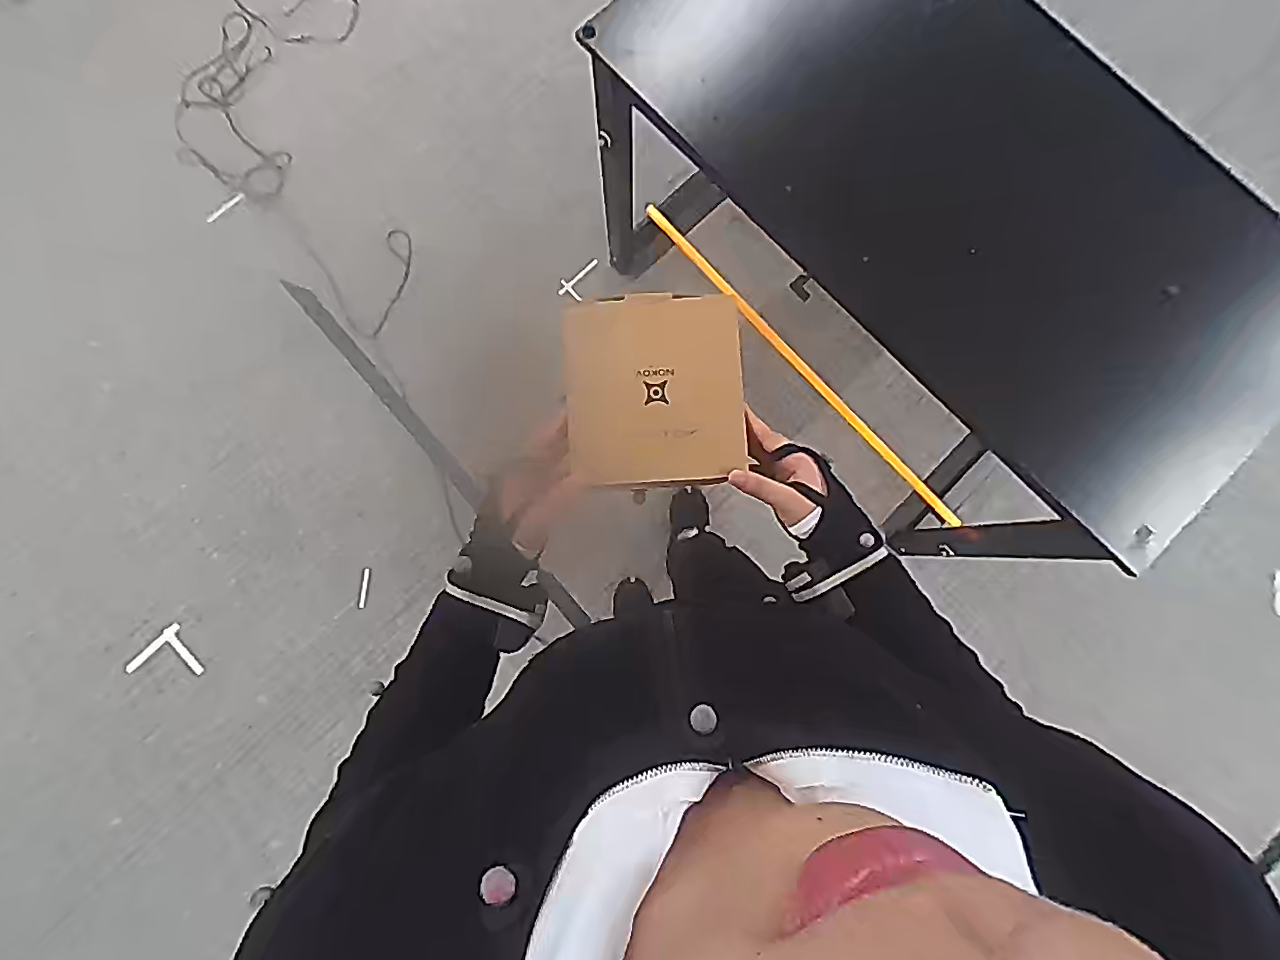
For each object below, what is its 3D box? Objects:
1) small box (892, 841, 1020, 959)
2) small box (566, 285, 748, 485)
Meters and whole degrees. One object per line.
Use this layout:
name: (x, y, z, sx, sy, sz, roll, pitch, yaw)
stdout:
small box: (0.760, 1.041, 1.323, 0.168, 0.176, 0.179, 44, 85, 5)
small box: (0.009, -0.089, 0.580, 0.168, 0.176, 0.179, -3, 87, -4)
